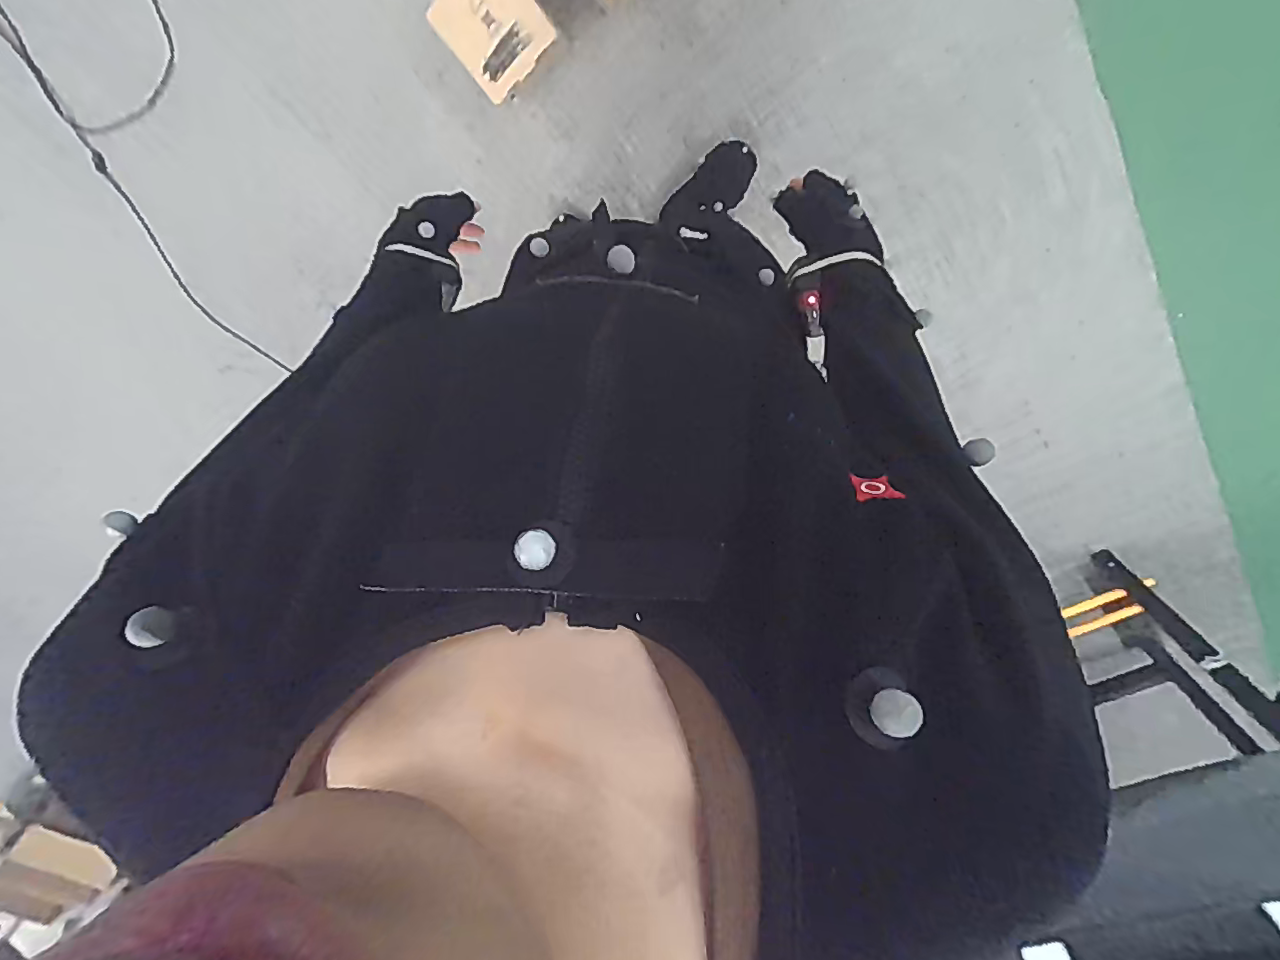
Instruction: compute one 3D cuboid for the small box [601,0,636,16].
[{"bbox_3d":[-0.039,-0.963,0.937,0.168,0.176,0.179,-32,117,20],"label":"small box"}]
